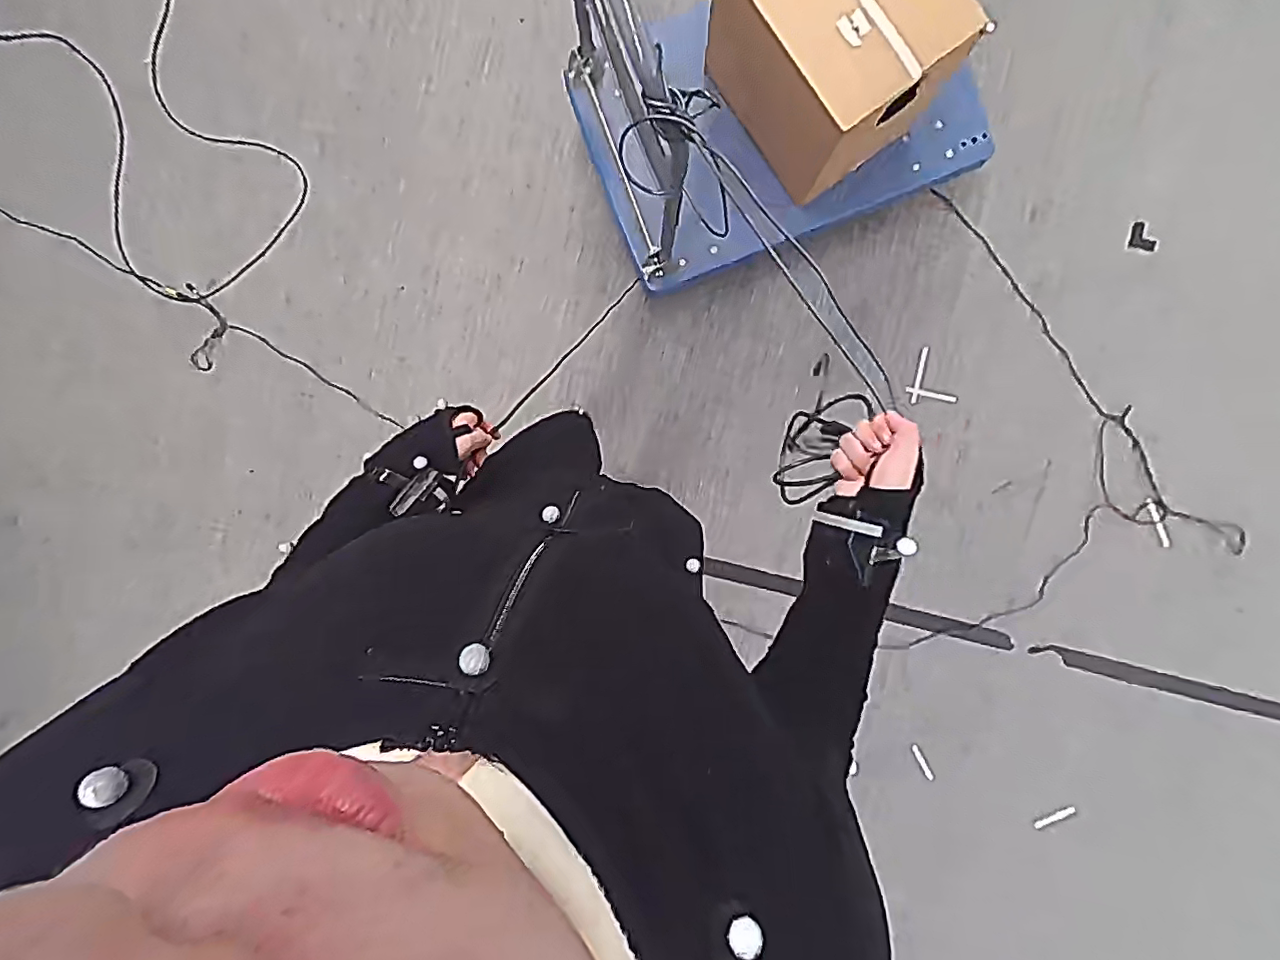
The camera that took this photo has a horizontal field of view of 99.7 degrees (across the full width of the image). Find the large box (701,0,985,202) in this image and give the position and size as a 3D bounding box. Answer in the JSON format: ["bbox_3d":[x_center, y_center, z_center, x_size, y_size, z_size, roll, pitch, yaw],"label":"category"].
[{"bbox_3d":[0.372,-0.881,1.098,0.320,0.320,0.408,-36,92,4],"label":"large box"}]
